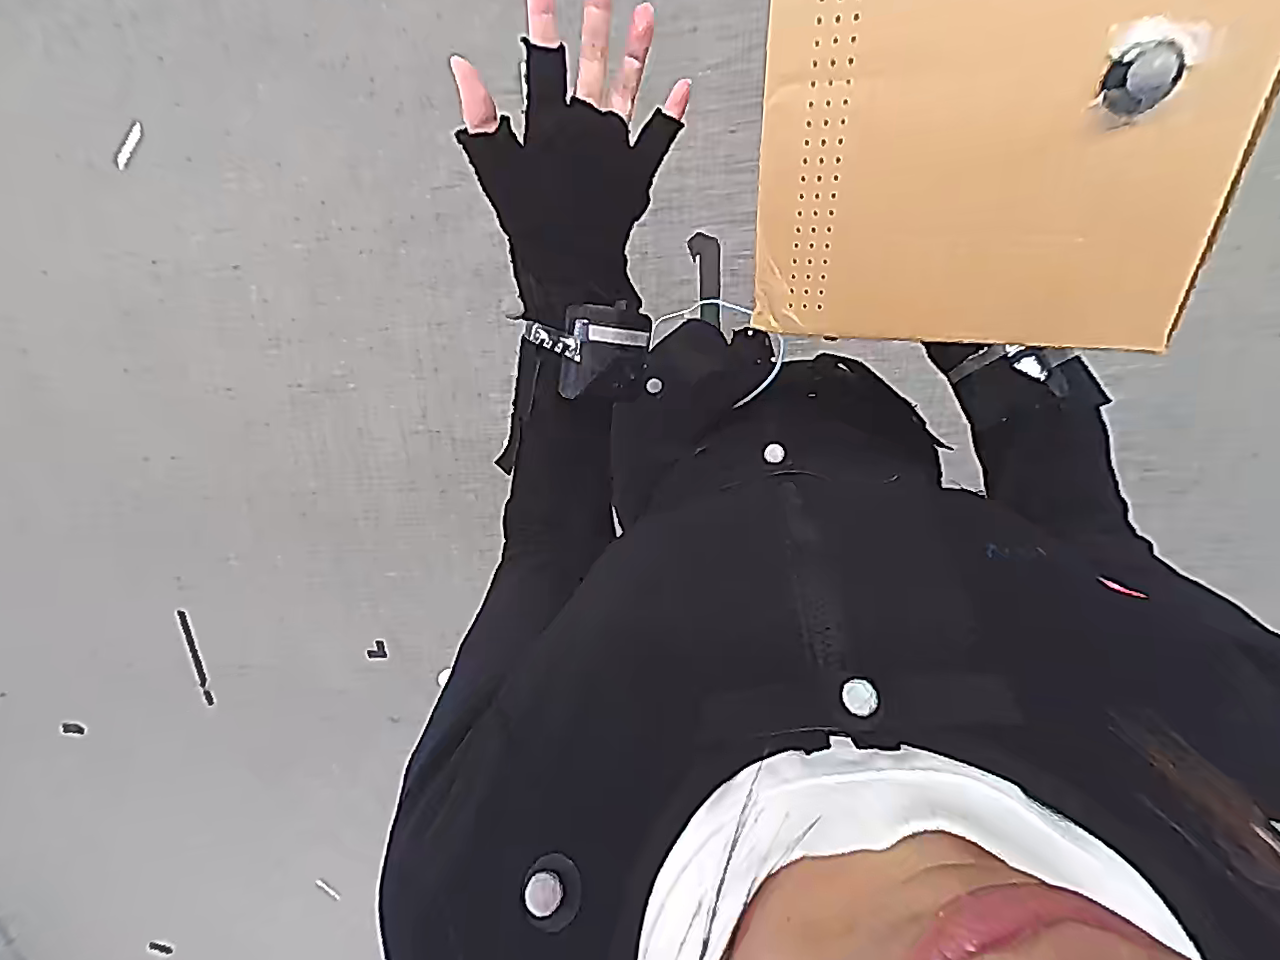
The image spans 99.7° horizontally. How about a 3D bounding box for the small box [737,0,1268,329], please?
[{"bbox_3d":[0.144,-0.182,0.271,0.176,0.168,0.179,8,121,18],"label":"small box"}]
